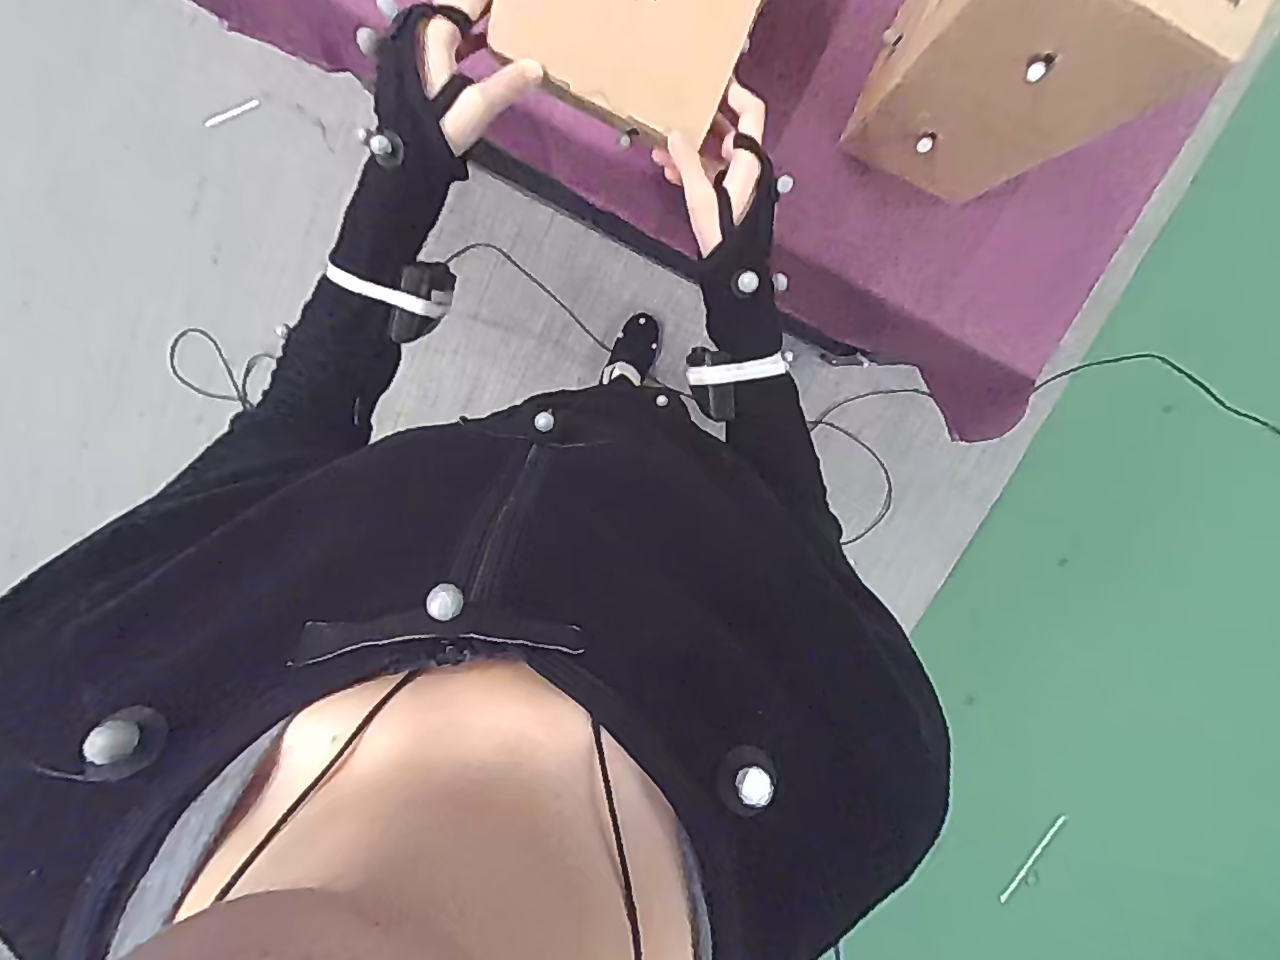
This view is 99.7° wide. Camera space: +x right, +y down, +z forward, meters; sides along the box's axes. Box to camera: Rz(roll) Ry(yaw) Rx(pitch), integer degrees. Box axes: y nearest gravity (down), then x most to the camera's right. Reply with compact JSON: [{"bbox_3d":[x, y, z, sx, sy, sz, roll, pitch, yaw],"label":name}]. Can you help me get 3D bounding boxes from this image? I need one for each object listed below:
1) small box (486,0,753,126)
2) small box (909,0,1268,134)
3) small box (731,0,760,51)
[{"bbox_3d":[-0.004,-0.398,0.408,0.168,0.176,0.179,17,118,-19],"label":"small box"},{"bbox_3d":[0.358,-0.410,0.420,0.179,0.176,0.168,25,100,-6],"label":"small box"},{"bbox_3d":[0.069,-0.595,0.551,0.179,0.176,0.168,27,100,-7],"label":"small box"}]
